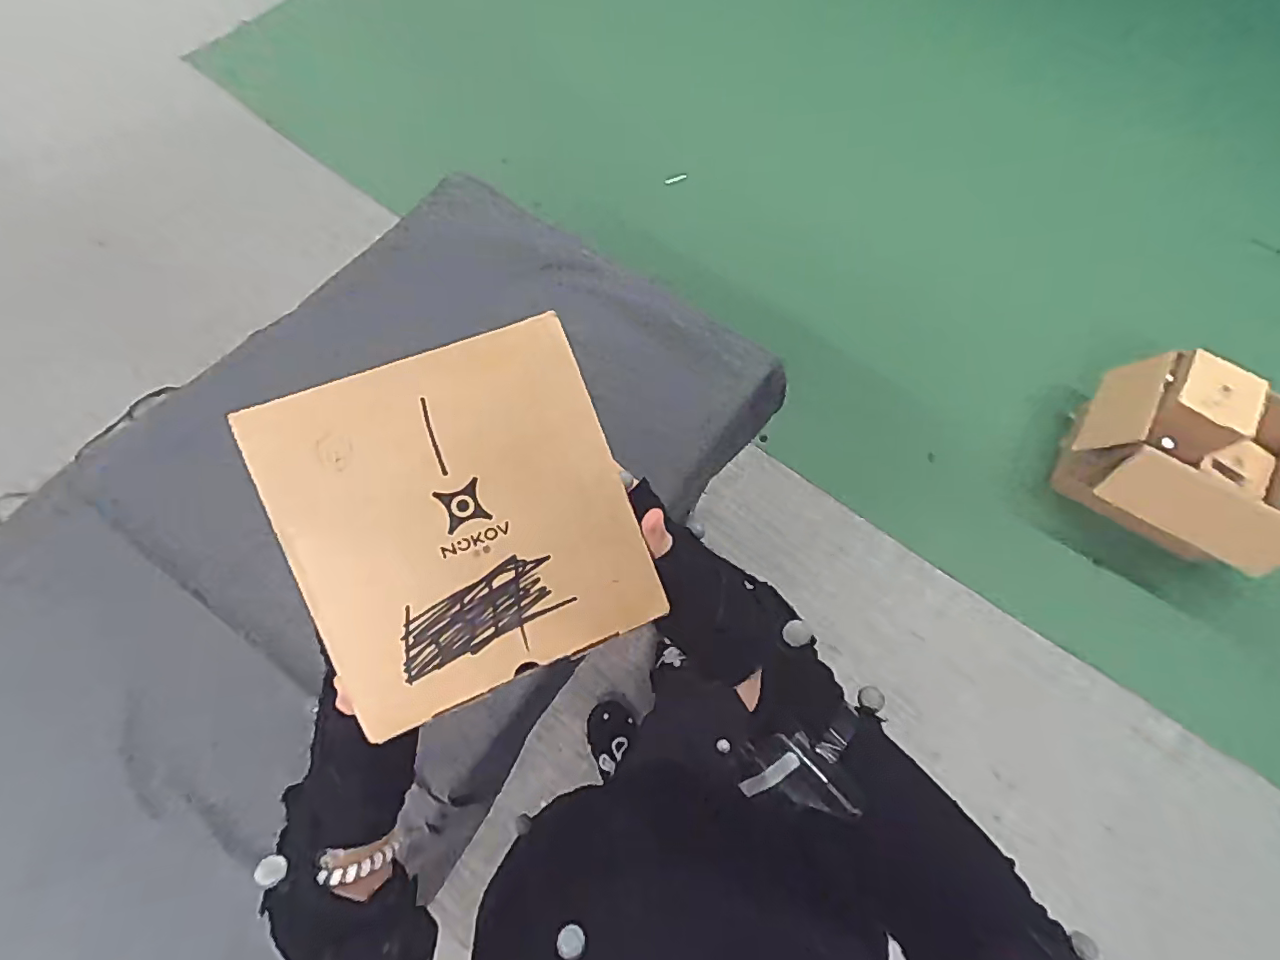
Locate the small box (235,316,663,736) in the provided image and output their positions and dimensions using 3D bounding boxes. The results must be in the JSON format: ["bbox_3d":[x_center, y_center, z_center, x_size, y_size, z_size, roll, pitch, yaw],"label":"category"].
[{"bbox_3d":[-0.103,0.020,0.353,0.168,0.176,0.179,-21,94,-11],"label":"small box"}]
